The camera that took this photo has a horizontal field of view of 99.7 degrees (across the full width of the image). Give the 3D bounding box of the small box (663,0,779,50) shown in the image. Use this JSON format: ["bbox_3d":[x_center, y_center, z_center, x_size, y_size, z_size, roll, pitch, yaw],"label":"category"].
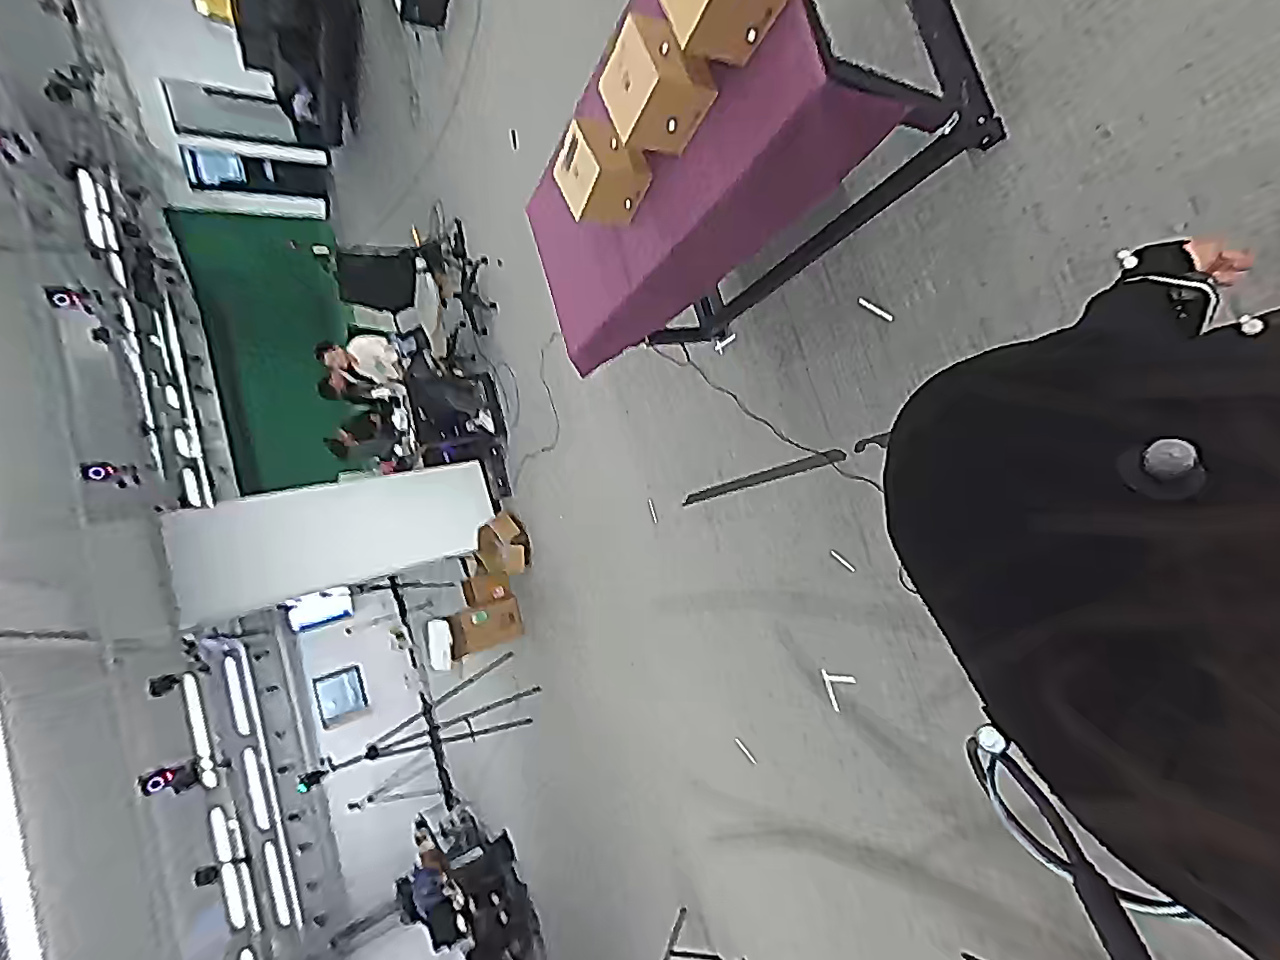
[{"bbox_3d":[0.151,-0.945,0.995,0.168,0.176,0.179,-32,74,58],"label":"small box"}]

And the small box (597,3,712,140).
[{"bbox_3d":[0.033,-0.889,1.196,0.168,0.176,0.179,-34,72,56],"label":"small box"}]
